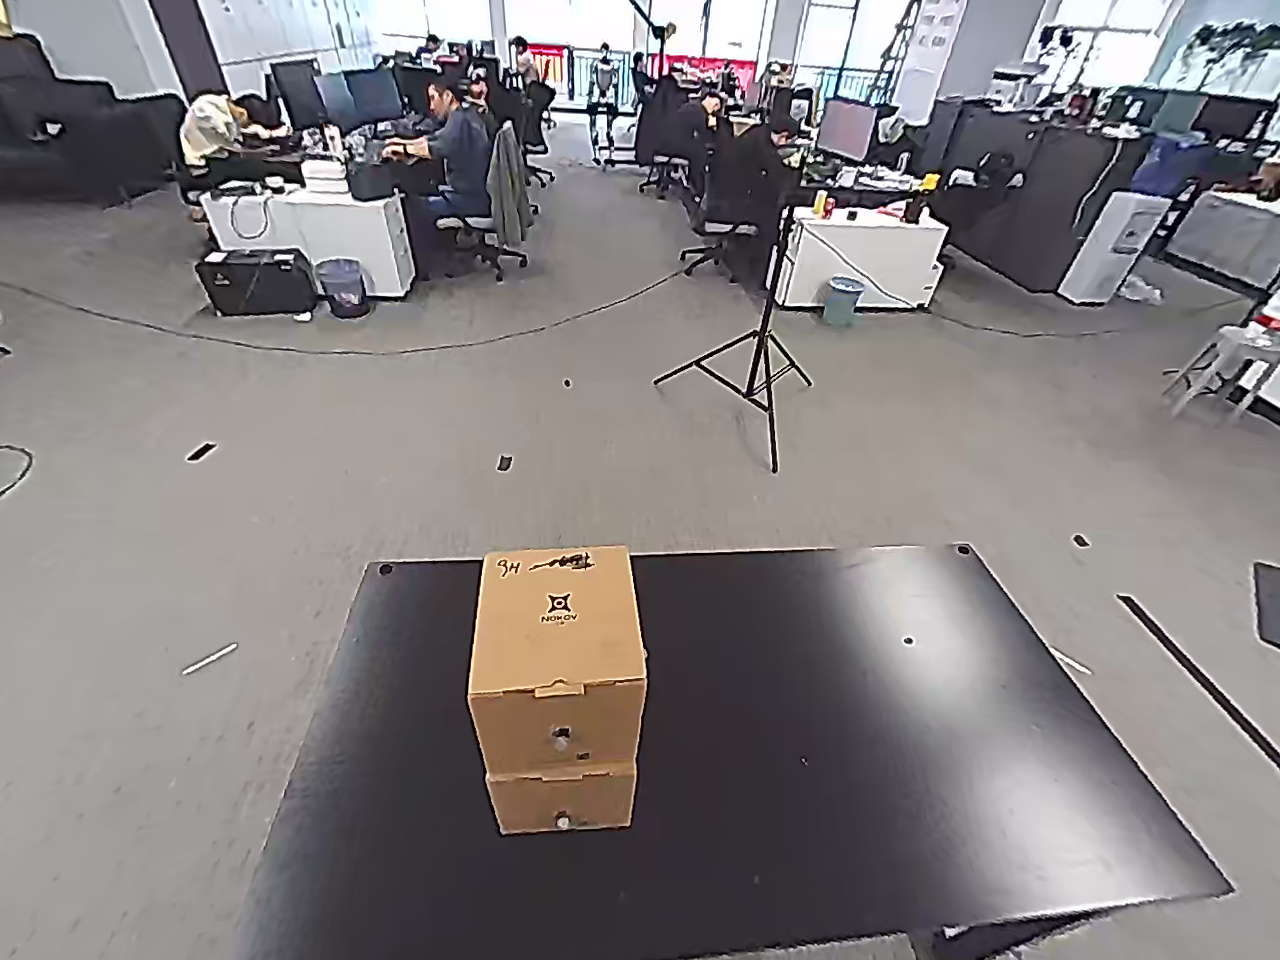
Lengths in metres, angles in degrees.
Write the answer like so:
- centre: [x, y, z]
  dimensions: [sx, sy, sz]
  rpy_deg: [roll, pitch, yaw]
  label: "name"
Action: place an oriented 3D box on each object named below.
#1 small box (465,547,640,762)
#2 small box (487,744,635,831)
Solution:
- centre: [-0.091, 0.199, 0.613]
  dimensions: [0.168, 0.176, 0.179]
  rpy_deg: [-2, 40, -7]
  label: "small box"
- centre: [-0.097, 0.331, 0.710]
  dimensions: [0.168, 0.176, 0.179]
  rpy_deg: [-1, 40, -5]
  label: "small box"
